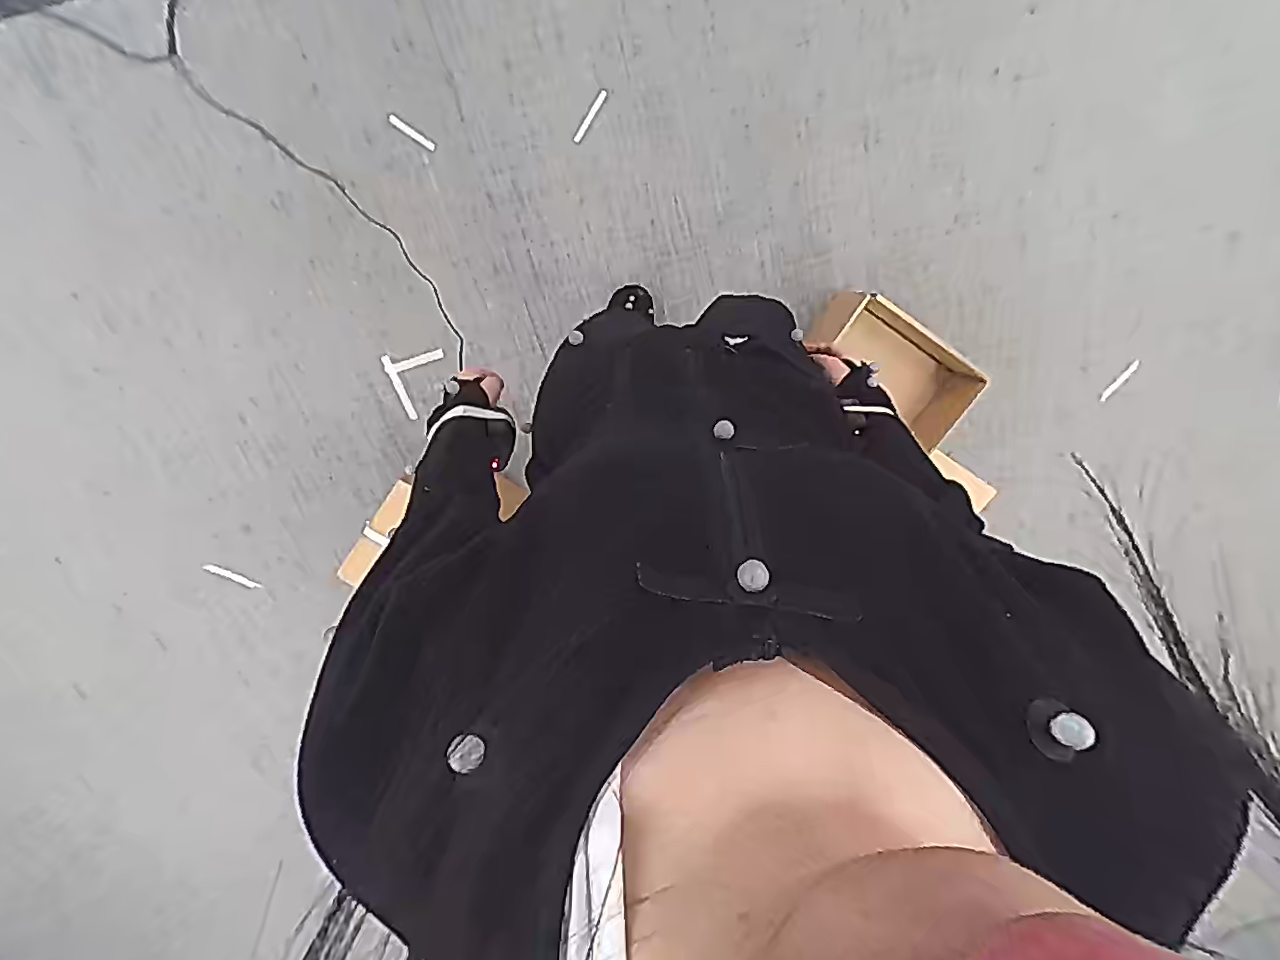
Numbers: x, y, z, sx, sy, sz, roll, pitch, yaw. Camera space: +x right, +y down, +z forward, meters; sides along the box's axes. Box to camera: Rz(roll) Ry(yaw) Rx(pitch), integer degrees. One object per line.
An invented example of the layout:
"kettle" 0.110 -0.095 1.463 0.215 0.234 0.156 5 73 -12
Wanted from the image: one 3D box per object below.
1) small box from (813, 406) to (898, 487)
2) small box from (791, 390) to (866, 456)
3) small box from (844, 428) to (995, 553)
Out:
"small box" 0.539 -0.051 1.252 0.179 0.176 0.168 31 106 -14
"small box" 0.527 -0.113 1.401 0.179 0.176 0.168 32 106 -15
"small box" 0.556 0.012 1.100 0.179 0.176 0.168 29 107 -16
